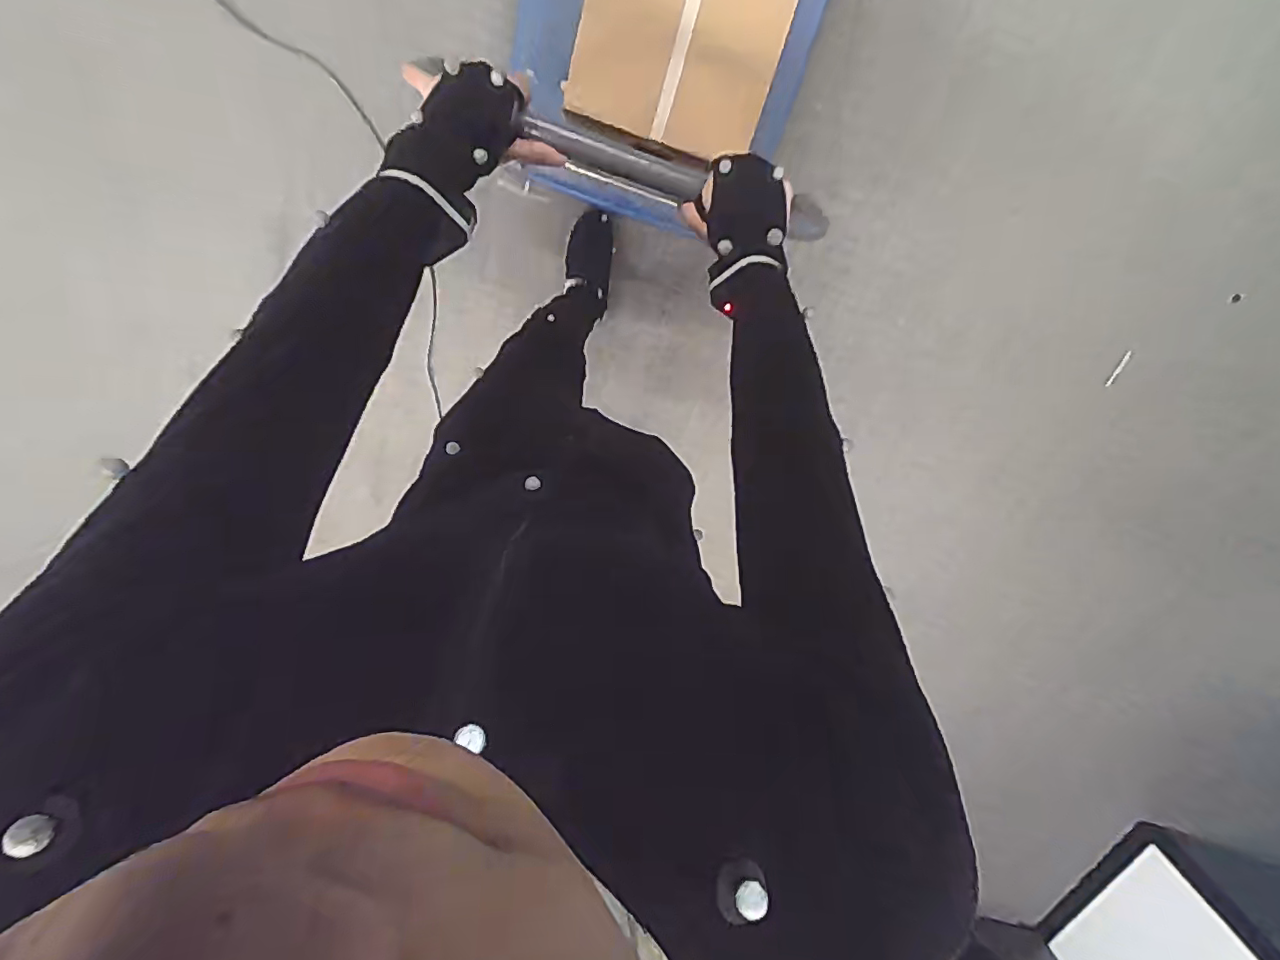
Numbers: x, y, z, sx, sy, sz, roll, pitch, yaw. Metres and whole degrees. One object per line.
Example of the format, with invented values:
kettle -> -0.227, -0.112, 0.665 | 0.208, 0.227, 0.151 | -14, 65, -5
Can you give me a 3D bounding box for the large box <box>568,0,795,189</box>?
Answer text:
large box -> 0.075, -0.799, 0.970 | 0.320, 0.320, 0.408 | 15, 110, -9
